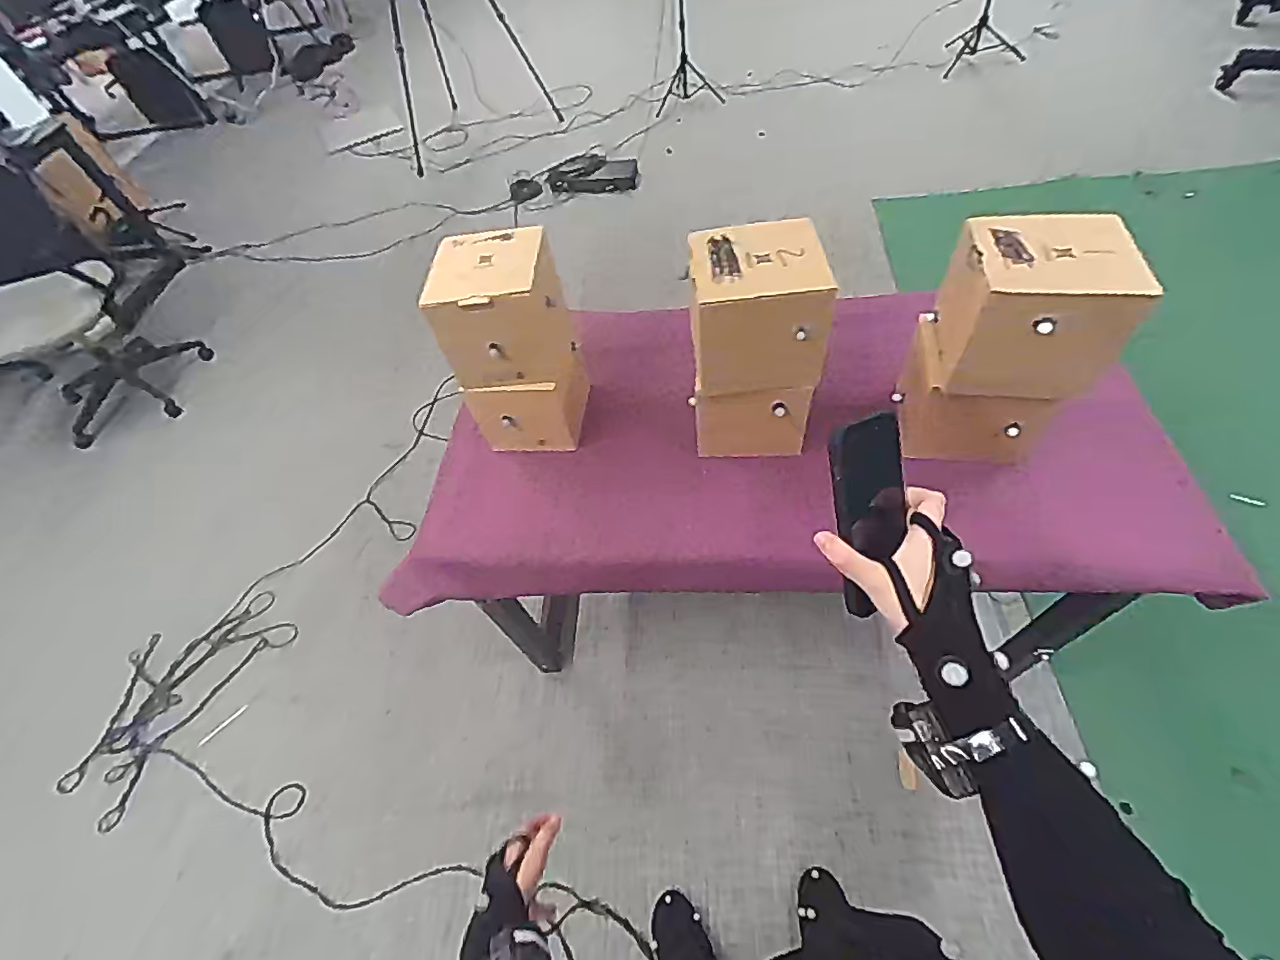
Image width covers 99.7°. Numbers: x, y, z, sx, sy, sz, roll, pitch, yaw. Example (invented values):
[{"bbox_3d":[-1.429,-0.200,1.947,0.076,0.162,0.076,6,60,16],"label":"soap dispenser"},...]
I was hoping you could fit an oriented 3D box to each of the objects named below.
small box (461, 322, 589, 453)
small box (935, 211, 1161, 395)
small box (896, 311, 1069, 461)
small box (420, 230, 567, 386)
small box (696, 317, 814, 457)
[{"bbox_3d":[-0.197,-0.162,0.988,0.168,0.176,0.179,0,54,9],"label":"small box"},{"bbox_3d":[0.507,-0.228,0.712,0.179,0.176,0.168,4,55,12],"label":"small box"},{"bbox_3d":[0.522,-0.145,0.852,0.179,0.176,0.168,4,55,13],"label":"small box"},{"bbox_3d":[-0.219,-0.265,0.861,0.168,0.176,0.179,-4,54,6],"label":"small box"},{"bbox_3d":[0.187,-0.152,0.913,0.179,0.176,0.168,-1,54,9],"label":"small box"}]
